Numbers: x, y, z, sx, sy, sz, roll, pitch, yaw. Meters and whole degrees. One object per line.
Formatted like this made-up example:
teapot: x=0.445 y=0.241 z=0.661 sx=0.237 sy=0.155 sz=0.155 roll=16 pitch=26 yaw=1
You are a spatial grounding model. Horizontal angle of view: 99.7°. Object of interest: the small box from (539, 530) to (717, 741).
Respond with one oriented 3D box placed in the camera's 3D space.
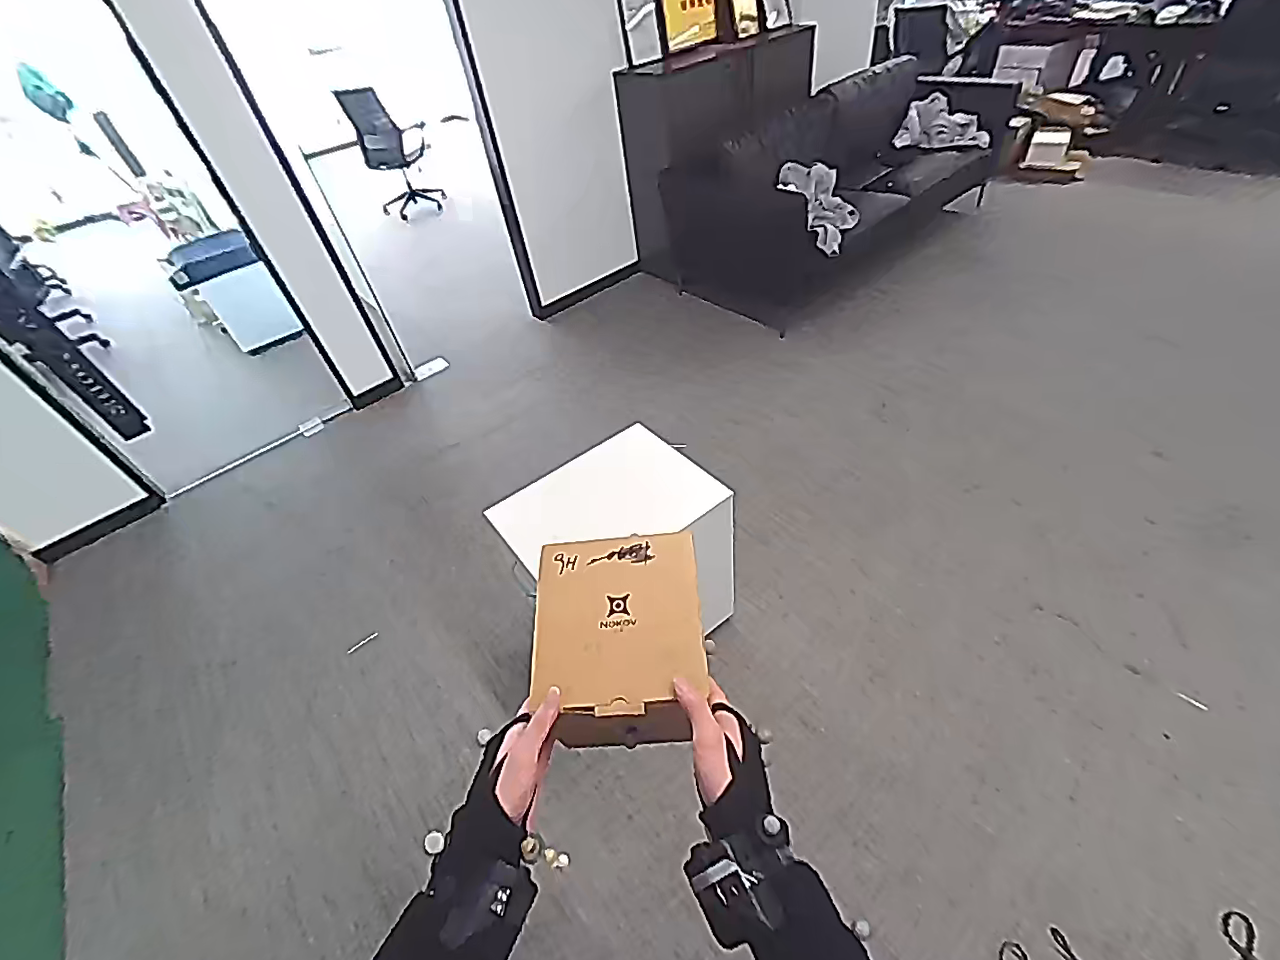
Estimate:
small box: x=-0.008 y=0.180 z=0.601 sx=0.168 sy=0.176 sz=0.179 roll=-8 pitch=53 yaw=3
